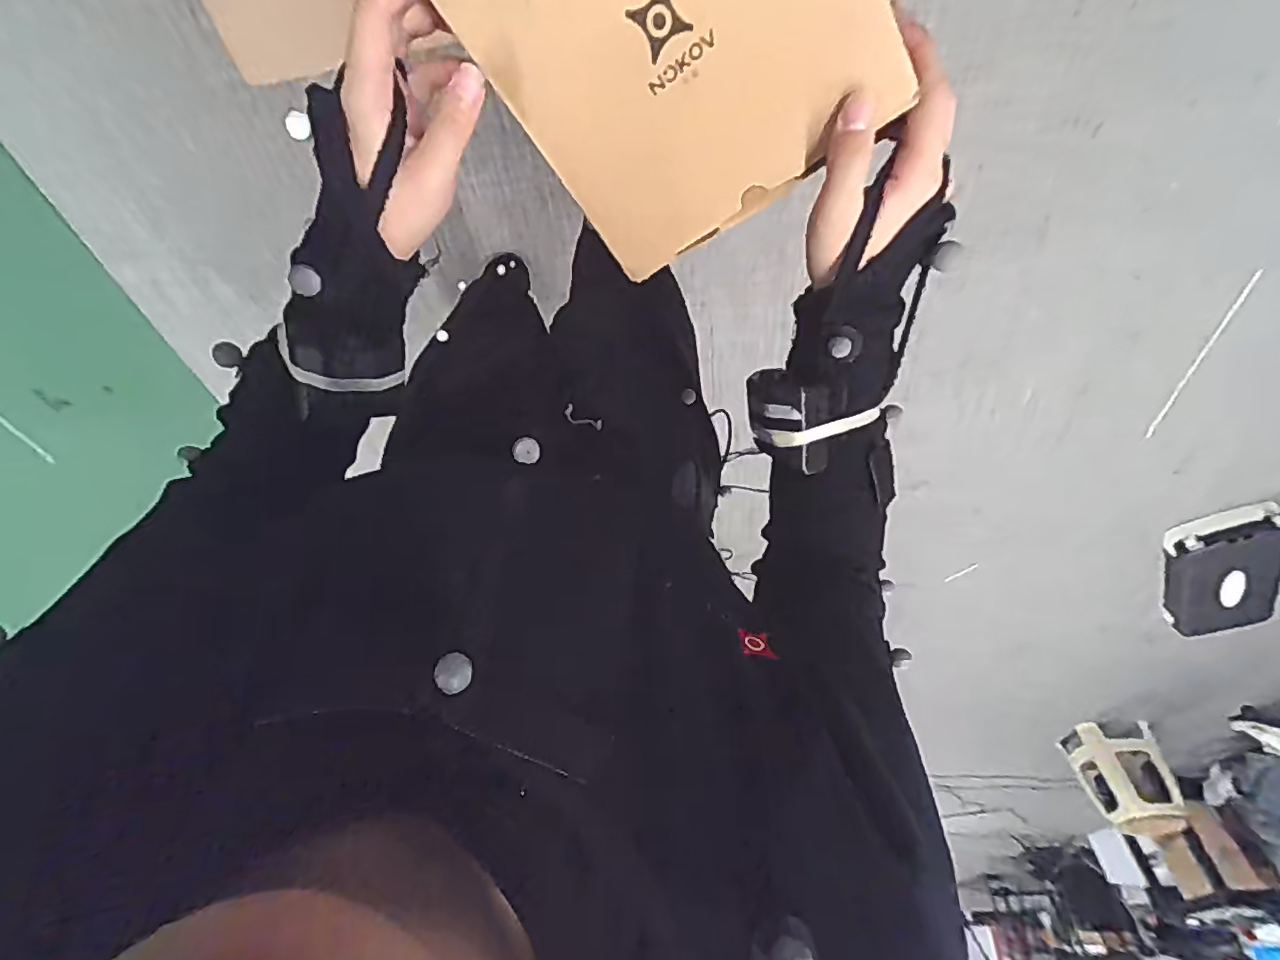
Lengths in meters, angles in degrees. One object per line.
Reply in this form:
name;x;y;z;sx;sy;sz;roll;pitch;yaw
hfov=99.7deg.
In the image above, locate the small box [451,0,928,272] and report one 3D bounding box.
small box;0.031;-0.259;0.297;0.168;0.176;0.179;-22;125;33
